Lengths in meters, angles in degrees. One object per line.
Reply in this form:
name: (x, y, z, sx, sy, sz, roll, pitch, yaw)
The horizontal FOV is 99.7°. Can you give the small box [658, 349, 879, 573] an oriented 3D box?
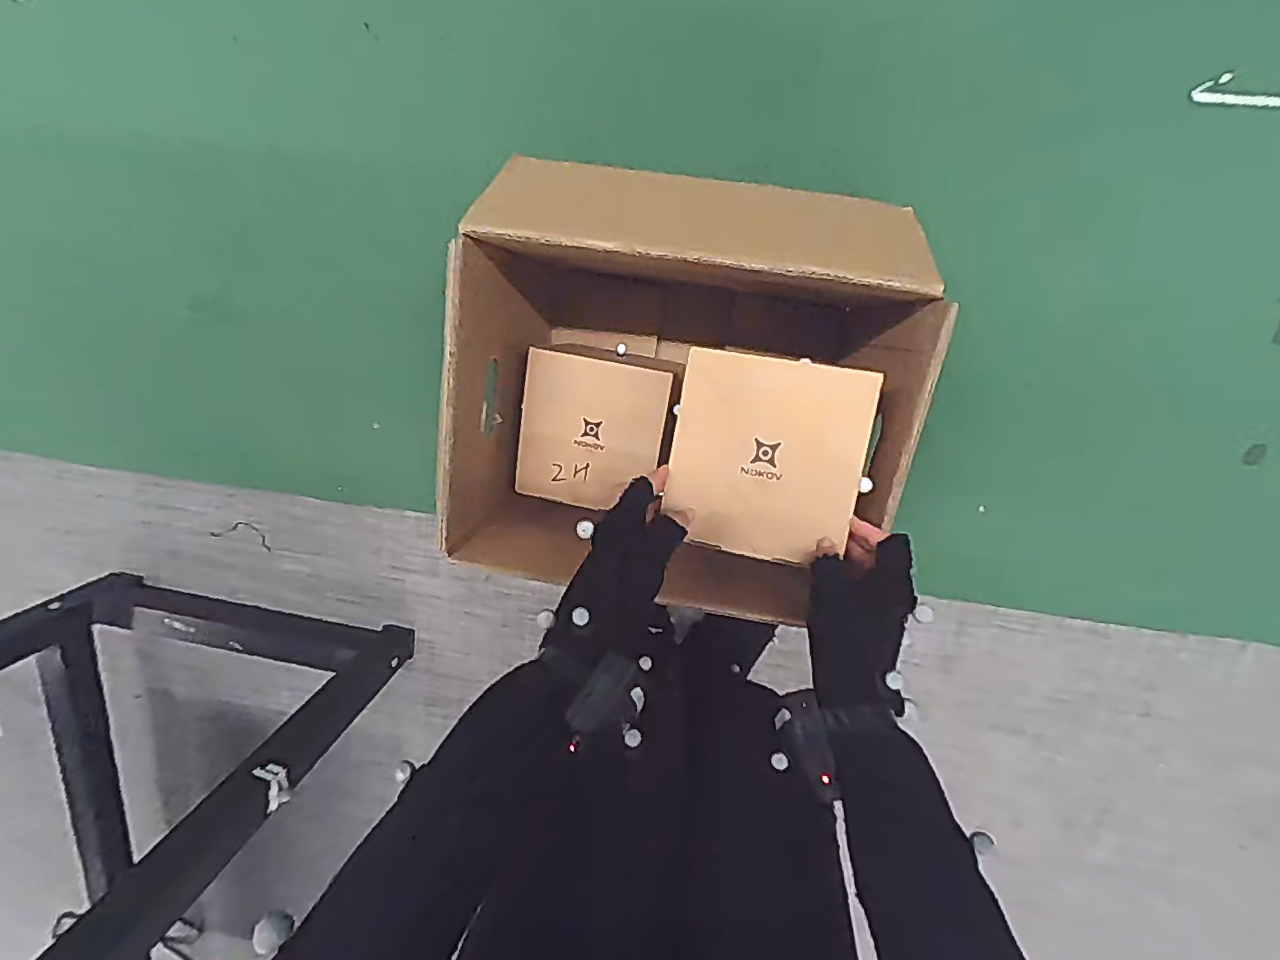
small box: (0.124, -0.025, 0.553, 0.168, 0.176, 0.179, 10, 98, 11)
